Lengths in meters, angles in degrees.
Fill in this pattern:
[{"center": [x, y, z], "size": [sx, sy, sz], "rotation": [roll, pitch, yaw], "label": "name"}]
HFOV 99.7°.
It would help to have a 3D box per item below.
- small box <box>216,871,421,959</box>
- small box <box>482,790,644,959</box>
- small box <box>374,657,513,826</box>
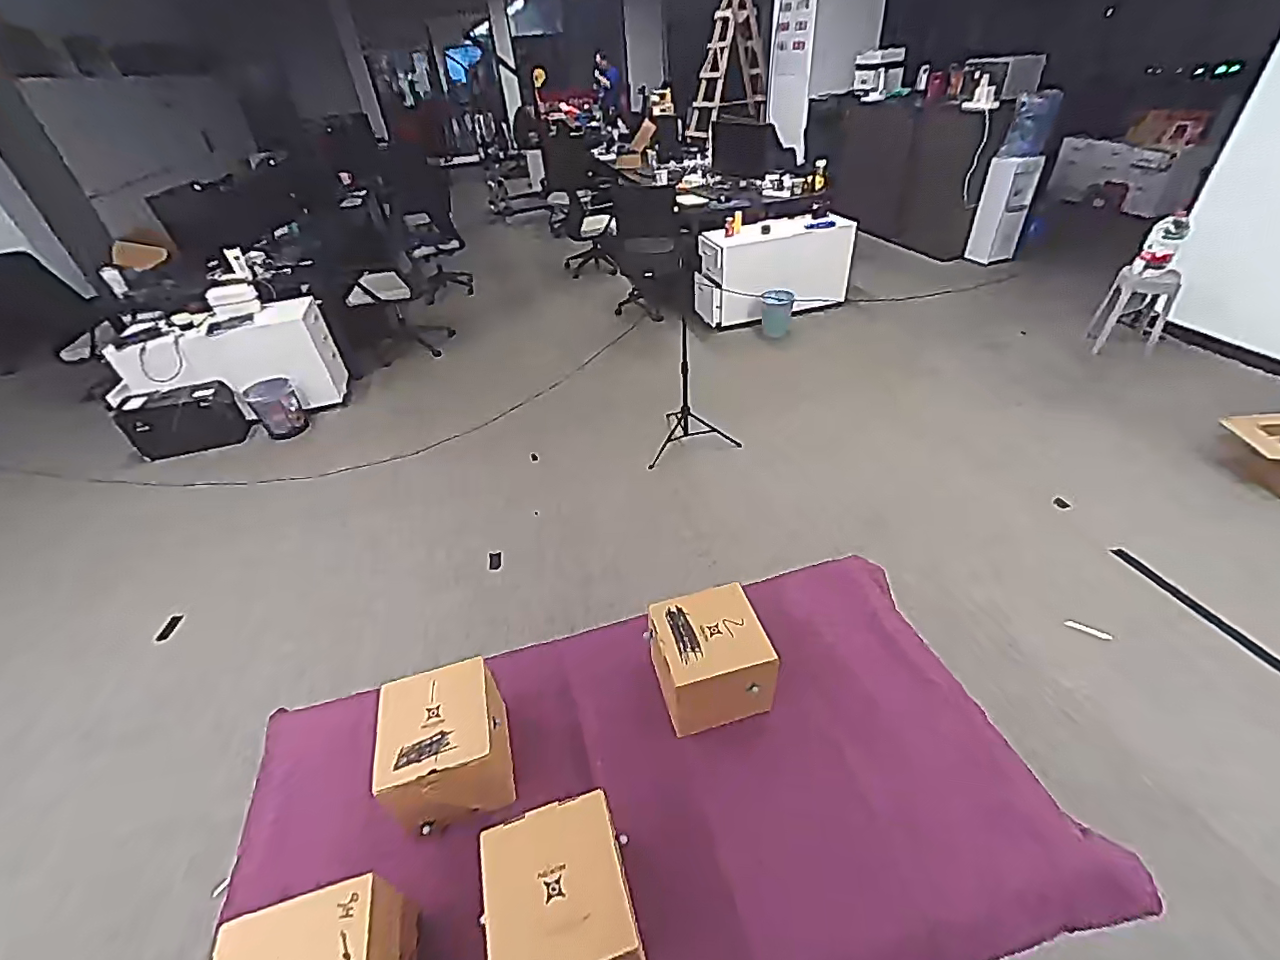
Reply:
[{"center": [-0.382, 0.614, 0.644], "size": [0.179, 0.176, 0.168], "rotation": [-14, 40, -9], "label": "small box"}, {"center": [-0.099, 0.547, 0.699], "size": [0.168, 0.176, 0.179], "rotation": [-14, 41, -10], "label": "small box"}, {"center": [-0.309, 0.426, 0.874], "size": [0.168, 0.176, 0.179], "rotation": [-14, 39, -11], "label": "small box"}]
